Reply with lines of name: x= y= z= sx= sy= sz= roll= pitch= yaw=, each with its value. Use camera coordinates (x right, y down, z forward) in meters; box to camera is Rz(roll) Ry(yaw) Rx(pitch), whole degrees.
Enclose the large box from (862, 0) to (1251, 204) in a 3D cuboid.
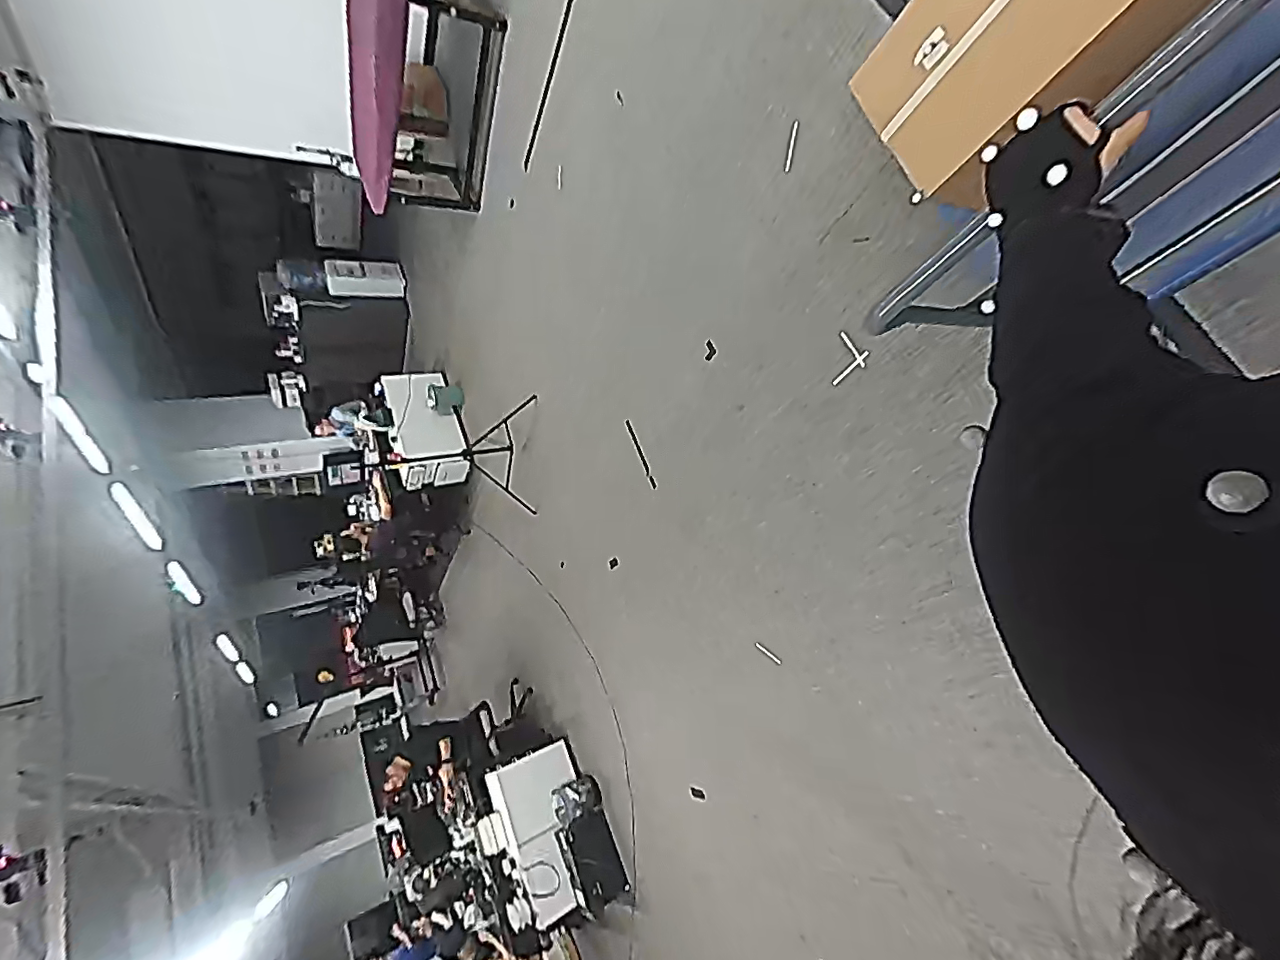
large box: x=0.703 y=-0.776 z=0.958 sx=0.408 sy=0.320 sz=0.320 roll=-45 pitch=61 yaw=54
